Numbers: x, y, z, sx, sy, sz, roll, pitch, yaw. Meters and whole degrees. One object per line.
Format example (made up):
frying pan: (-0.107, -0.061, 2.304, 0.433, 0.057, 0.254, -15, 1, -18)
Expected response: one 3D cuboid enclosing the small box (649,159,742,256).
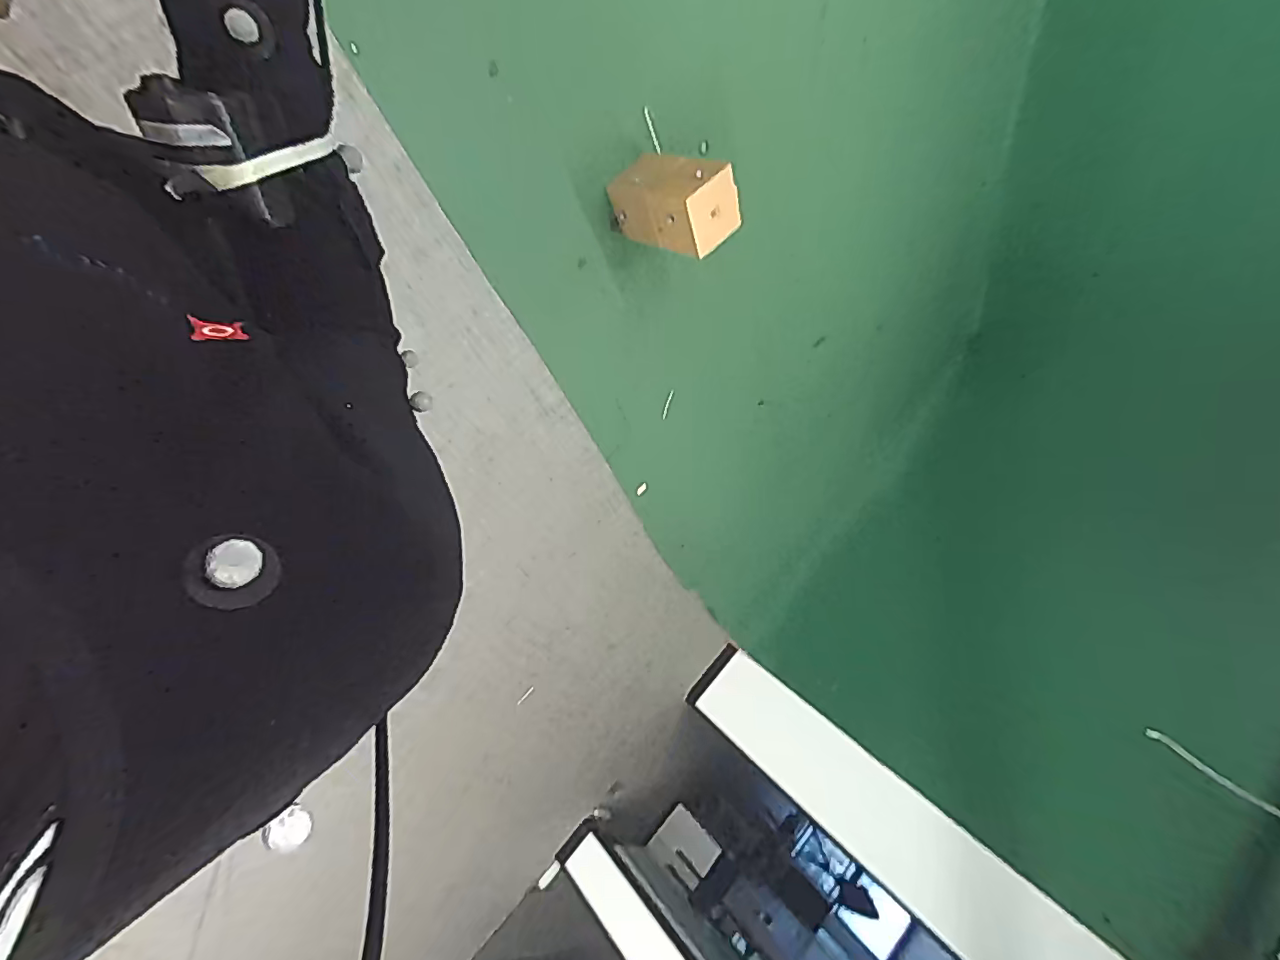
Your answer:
small box: (0.144, -0.734, 1.451, 0.179, 0.176, 0.168, -44, 141, -15)
